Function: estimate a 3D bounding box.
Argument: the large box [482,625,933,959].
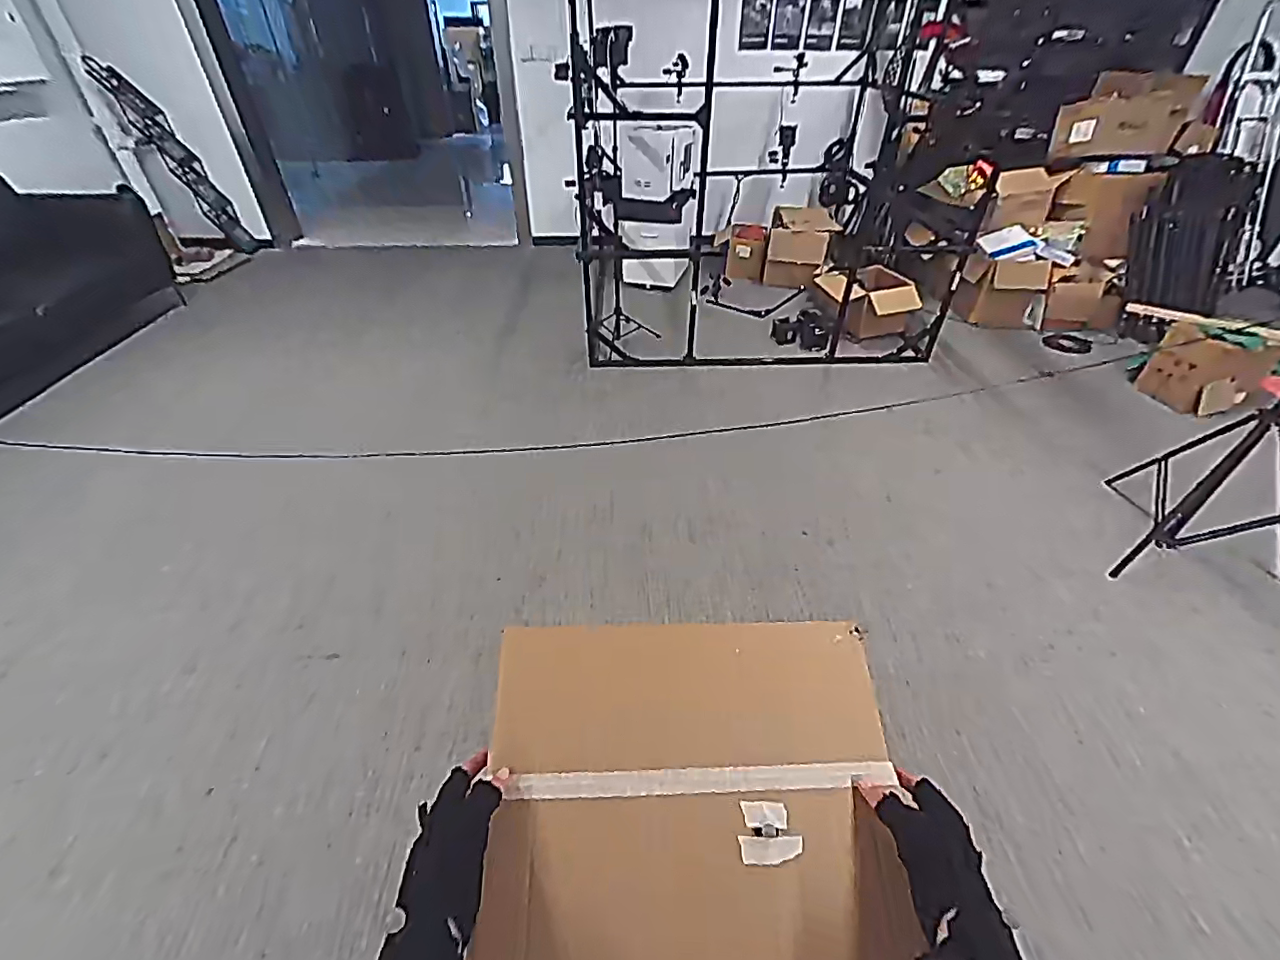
[{"bbox_3d":[0.049,0.386,0.668,0.408,0.320,0.320,-1,56,-2],"label":"large box"}]
